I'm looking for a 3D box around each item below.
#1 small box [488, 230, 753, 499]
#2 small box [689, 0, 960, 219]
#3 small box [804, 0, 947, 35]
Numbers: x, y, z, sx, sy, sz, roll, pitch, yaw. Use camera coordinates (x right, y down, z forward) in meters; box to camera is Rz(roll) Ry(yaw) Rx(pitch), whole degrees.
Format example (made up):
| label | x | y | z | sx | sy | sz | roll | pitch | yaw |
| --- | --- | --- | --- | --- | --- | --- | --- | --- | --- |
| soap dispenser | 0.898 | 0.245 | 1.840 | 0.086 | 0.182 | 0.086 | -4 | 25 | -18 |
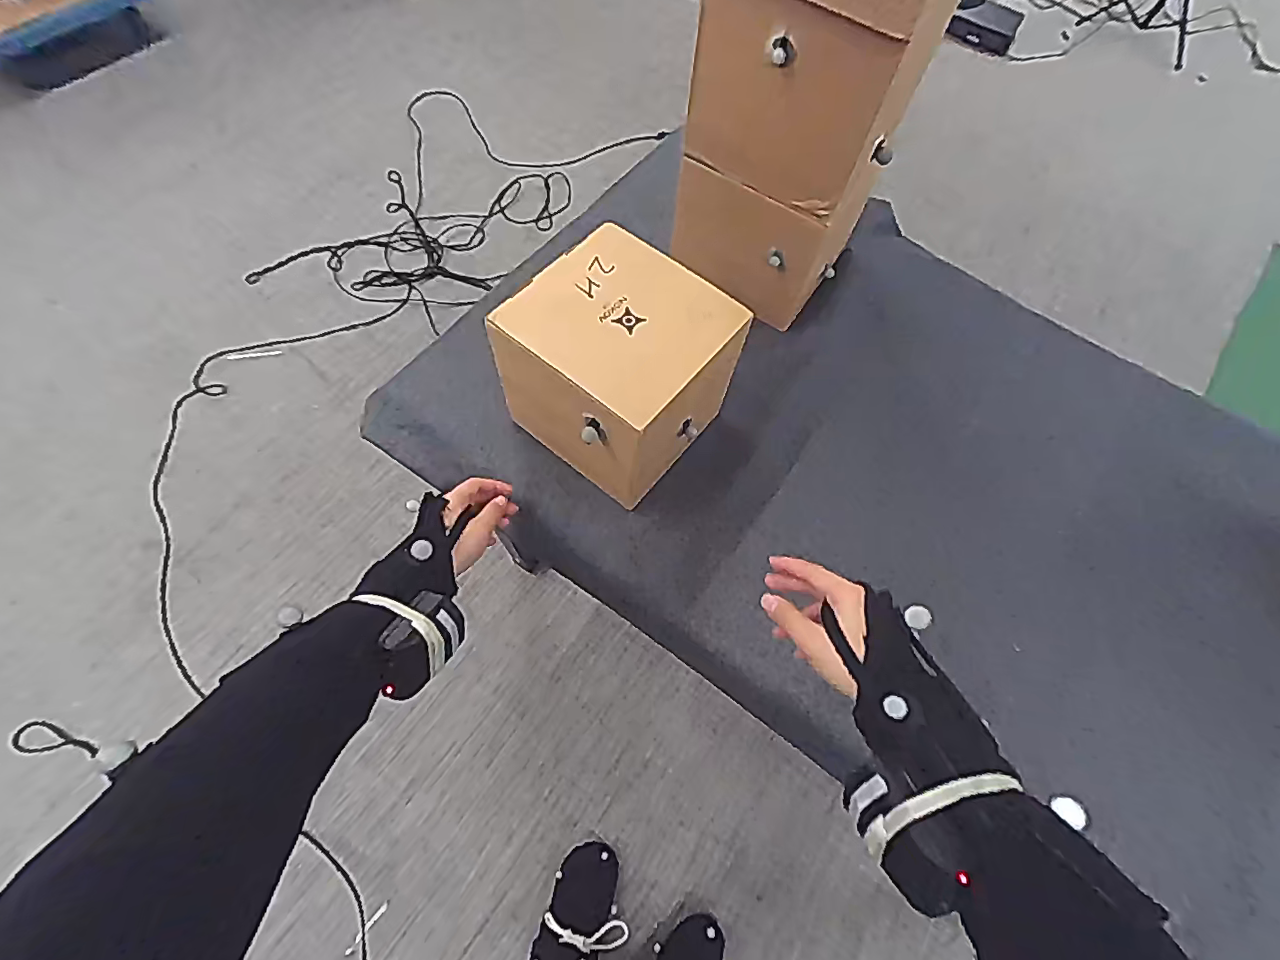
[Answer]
| label | x | y | z | sx | sy | sz | roll | pitch | yaw |
| --- | --- | --- | --- | --- | --- | --- | --- | --- | --- |
| small box | -0.019 | -0.102 | 0.545 | 0.179 | 0.176 | 0.168 | 37 | 67 | 13 |
| small box | 0.162 | -0.384 | 0.504 | 0.179 | 0.176 | 0.168 | 32 | 71 | 10 |
| small box | 0.164 | -0.440 | 0.349 | 0.179 | 0.176 | 0.168 | 34 | 71 | 11 |
